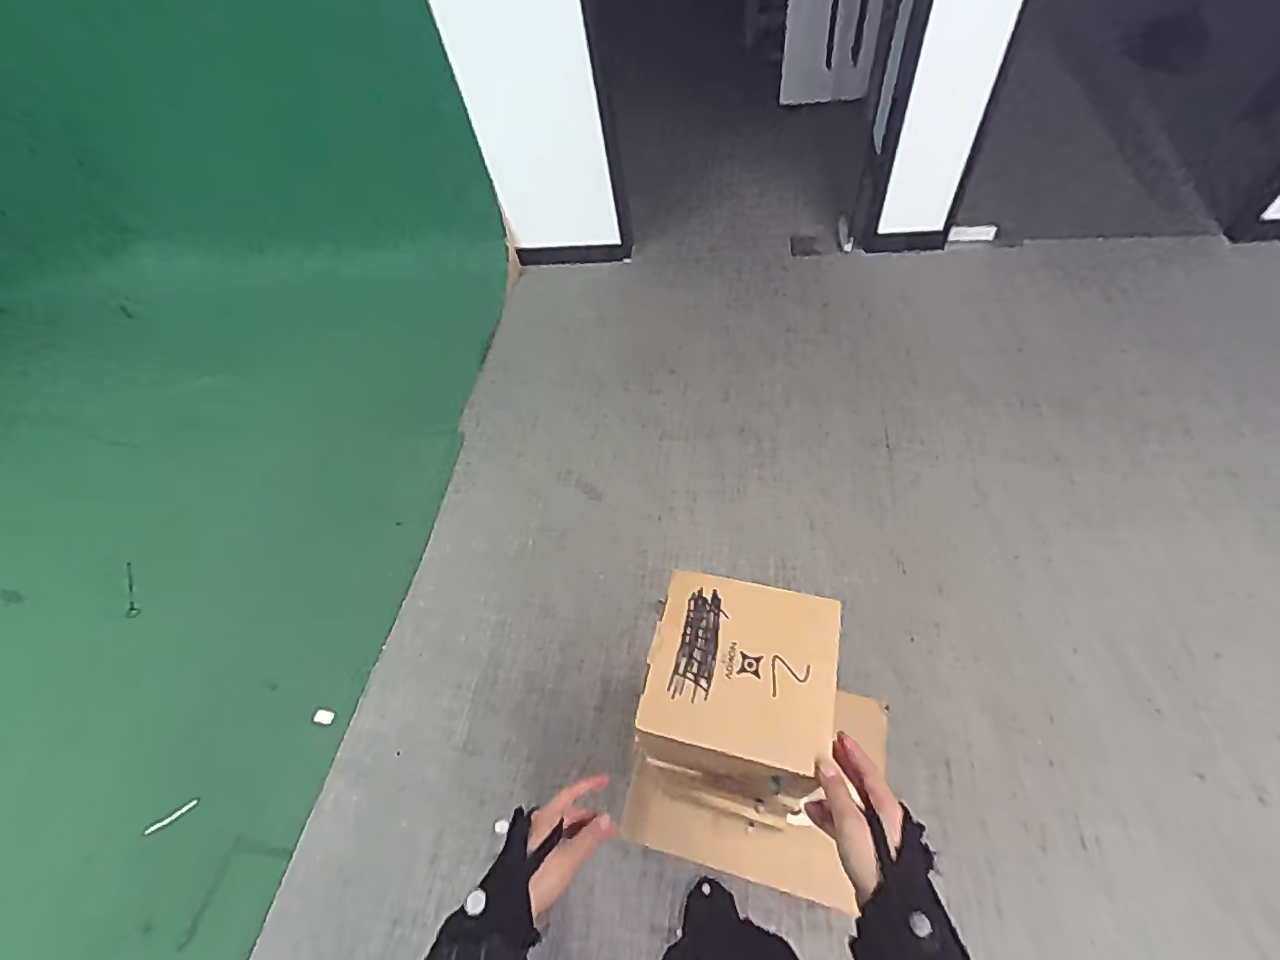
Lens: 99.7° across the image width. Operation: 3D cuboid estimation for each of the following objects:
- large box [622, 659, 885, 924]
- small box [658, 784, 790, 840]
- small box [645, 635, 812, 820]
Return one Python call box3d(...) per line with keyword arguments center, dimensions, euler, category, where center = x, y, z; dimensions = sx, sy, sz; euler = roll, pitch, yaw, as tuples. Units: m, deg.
box3d(center=(0.208, 0.572, 1.018), dimensions=(0.408, 0.320, 0.320), euler=(9, 58, 13), category="large box")
box3d(center=(0.138, 0.432, 0.828), dimensions=(0.179, 0.176, 0.168), euler=(9, 55, 15), category="small box")
box3d(center=(0.117, 0.326, 0.706), dimensions=(0.179, 0.176, 0.168), euler=(9, 56, 14), category="small box")
